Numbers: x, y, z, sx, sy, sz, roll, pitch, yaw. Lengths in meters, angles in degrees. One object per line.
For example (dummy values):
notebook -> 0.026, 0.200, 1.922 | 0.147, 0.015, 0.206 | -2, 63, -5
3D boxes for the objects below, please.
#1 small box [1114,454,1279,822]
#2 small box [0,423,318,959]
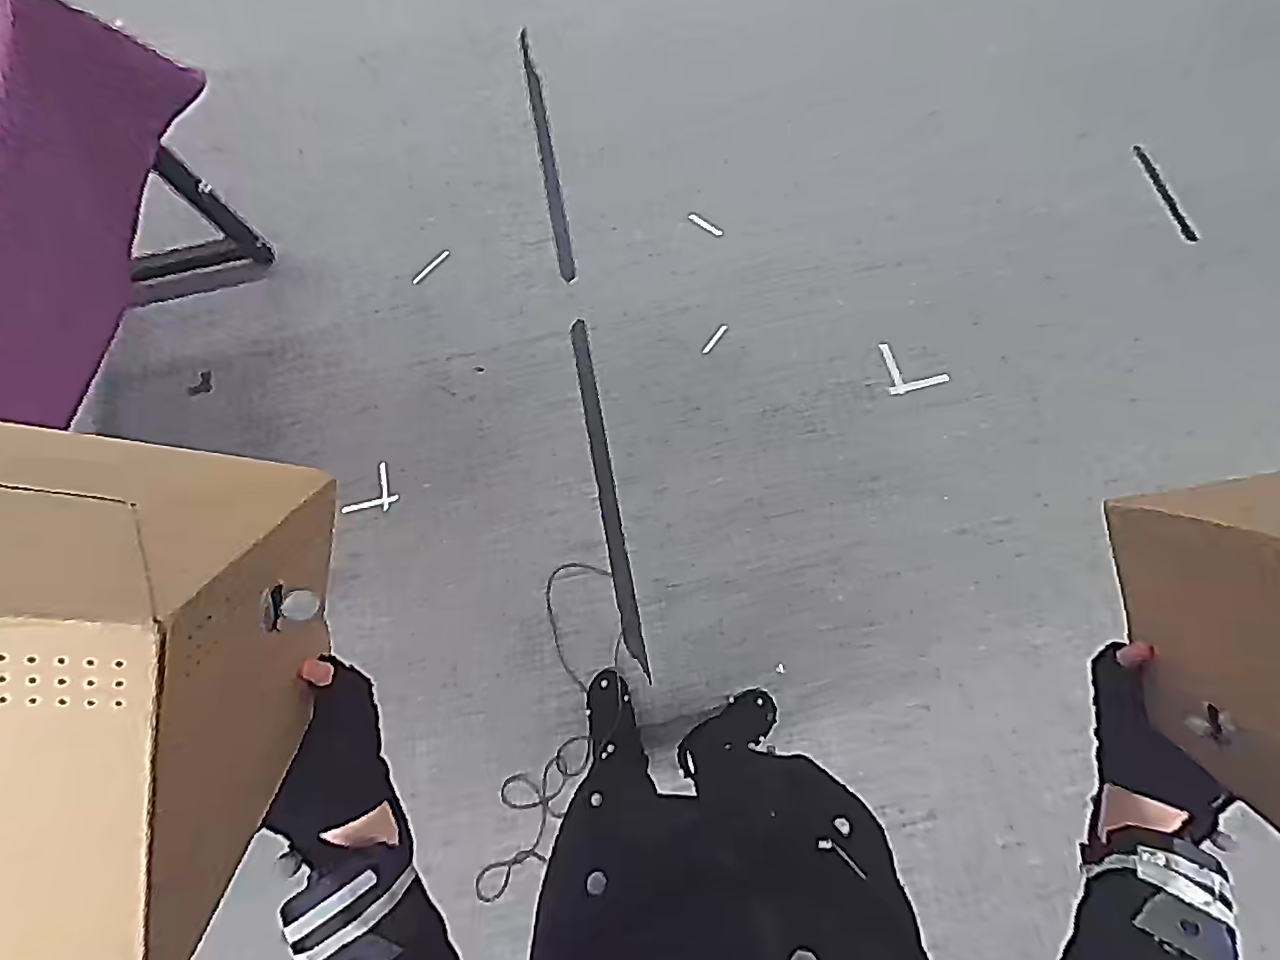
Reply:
small box -> 0.387, 0.071, 0.275 | 0.168, 0.179, 0.176 | -11, 90, 20
small box -> -0.250, 0.076, 0.216 | 0.168, 0.179, 0.176 | 10, 101, -16
